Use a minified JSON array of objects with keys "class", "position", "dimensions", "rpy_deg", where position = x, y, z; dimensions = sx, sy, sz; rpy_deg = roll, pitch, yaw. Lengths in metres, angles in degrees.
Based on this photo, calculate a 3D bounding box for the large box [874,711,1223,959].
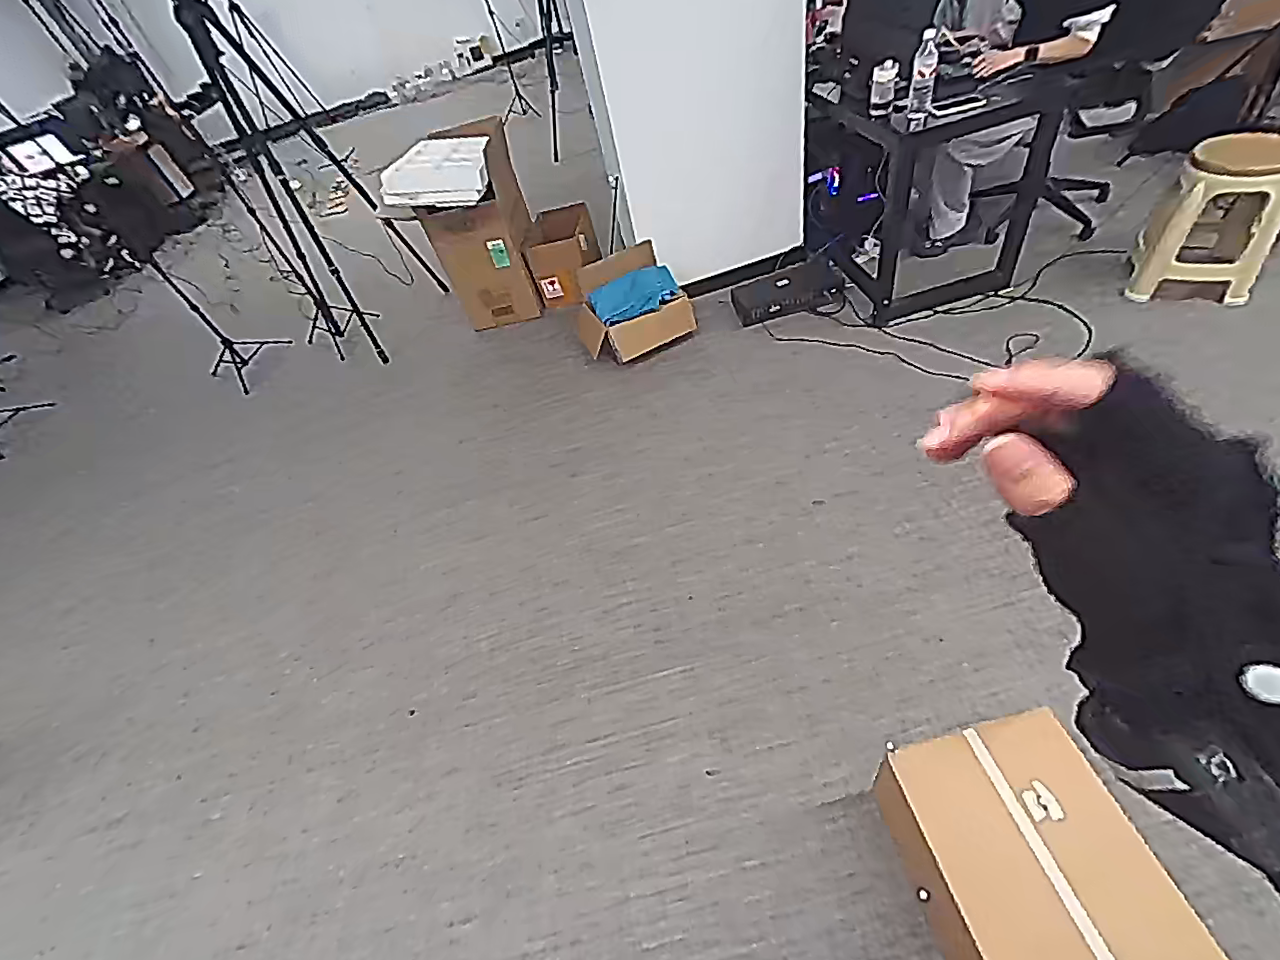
[{"class":"large box","position":[0.680,0.712,0.988],"dimensions":[0.320,0.320,0.408],"rpy_deg":[-16,46,1]}]
